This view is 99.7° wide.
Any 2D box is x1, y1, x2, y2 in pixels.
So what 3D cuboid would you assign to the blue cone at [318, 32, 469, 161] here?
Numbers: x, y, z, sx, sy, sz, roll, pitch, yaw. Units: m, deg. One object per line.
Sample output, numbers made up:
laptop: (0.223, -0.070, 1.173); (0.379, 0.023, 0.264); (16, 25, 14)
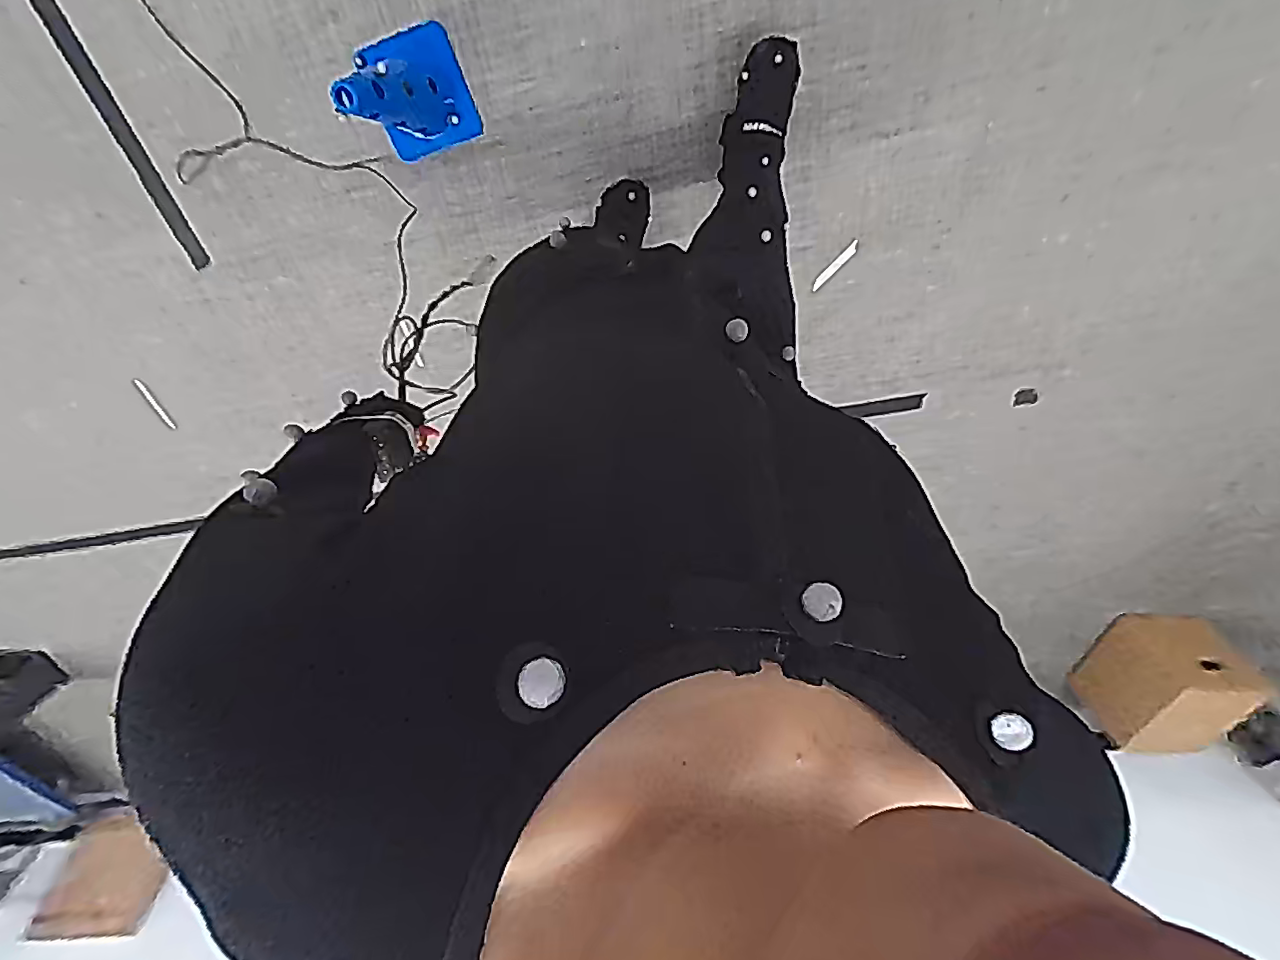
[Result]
blue cone: (-0.462, -0.684, 0.971); (0.192, 0.380, 0.193); (-12, 125, 9)
